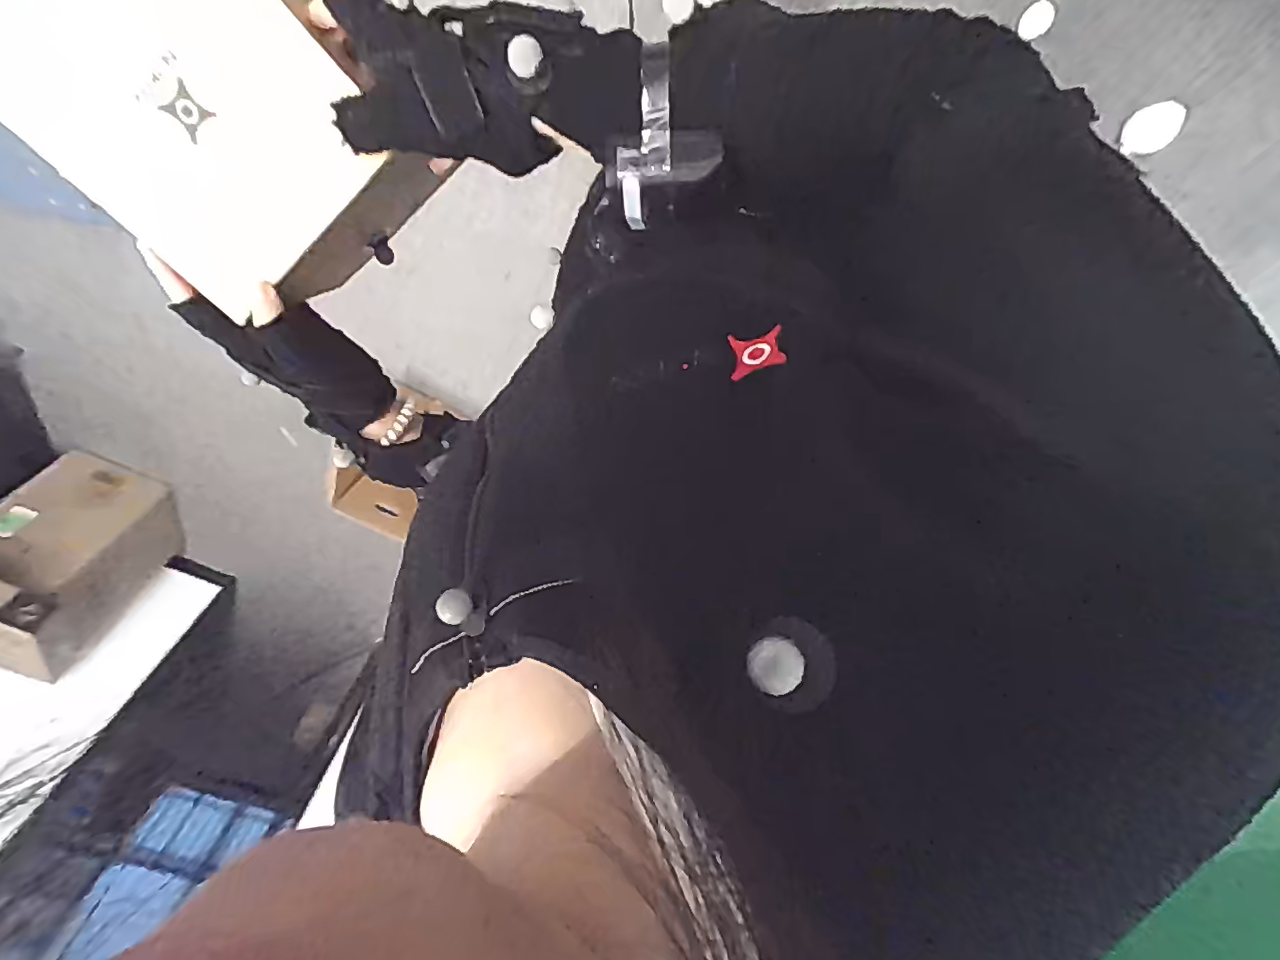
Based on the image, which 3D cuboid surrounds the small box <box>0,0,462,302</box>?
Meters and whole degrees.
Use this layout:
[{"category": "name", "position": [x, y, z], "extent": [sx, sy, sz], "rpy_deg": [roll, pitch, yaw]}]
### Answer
[{"category": "small box", "position": [-0.254, -0.250, 0.363], "extent": [0.168, 0.176, 0.179], "rpy_deg": [-35, 113, 15]}]
